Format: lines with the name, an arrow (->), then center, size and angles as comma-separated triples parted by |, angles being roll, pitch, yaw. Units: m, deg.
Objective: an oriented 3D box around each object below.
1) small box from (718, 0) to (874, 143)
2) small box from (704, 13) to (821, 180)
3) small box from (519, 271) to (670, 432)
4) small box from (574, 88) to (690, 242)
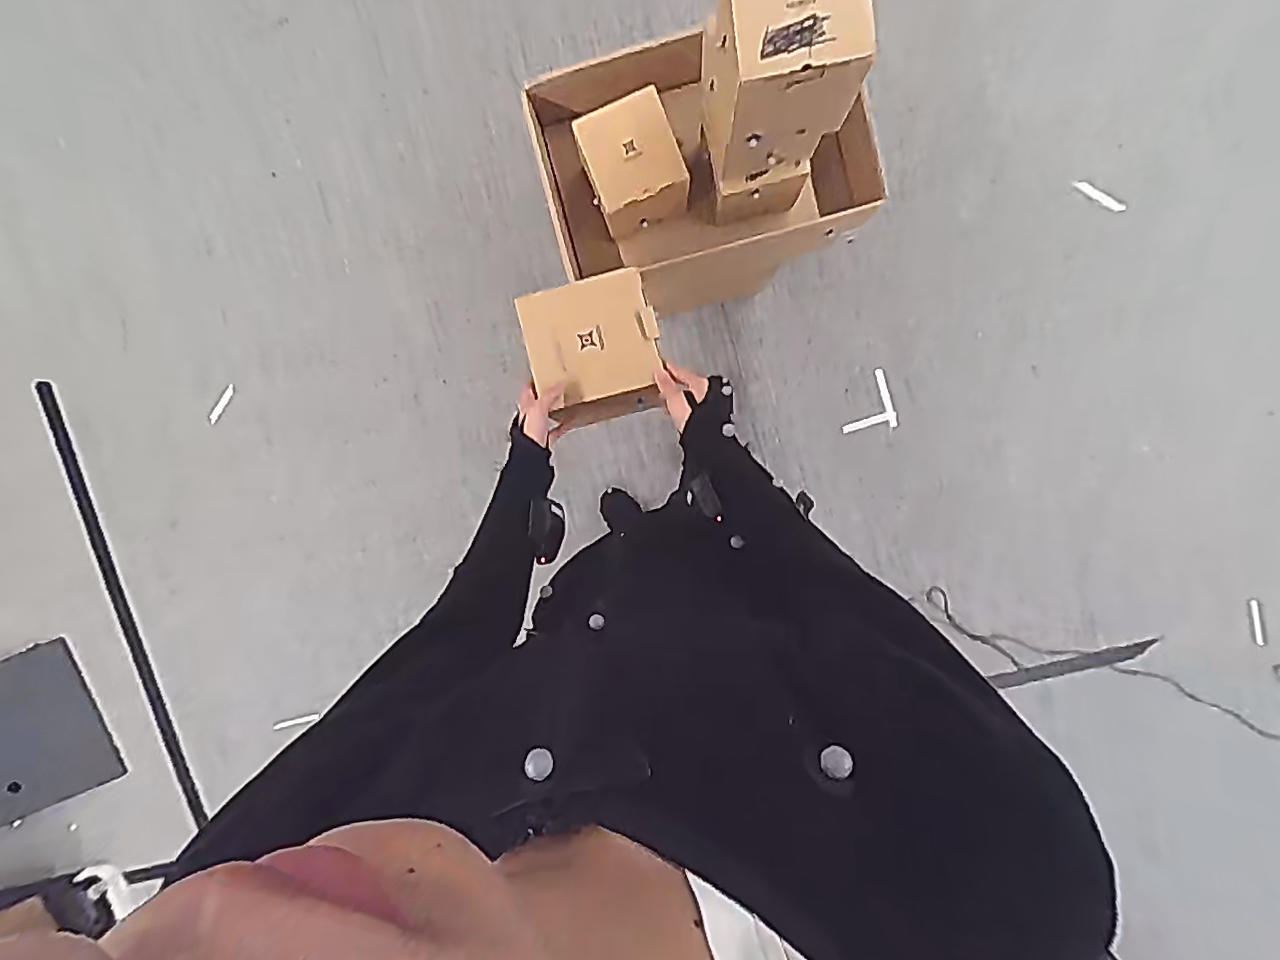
small box -> 0.198, -0.584, 0.725 | 0.168, 0.176, 0.179 | -7, 95, 5
small box -> 0.201, -0.633, 0.886 | 0.168, 0.176, 0.179 | -12, 95, 6
small box -> -0.058, -0.179, 0.801 | 0.179, 0.176, 0.168 | -15, 86, 3
small box -> -0.013, -0.605, 1.061 | 0.168, 0.176, 0.179 | -23, 95, 4
